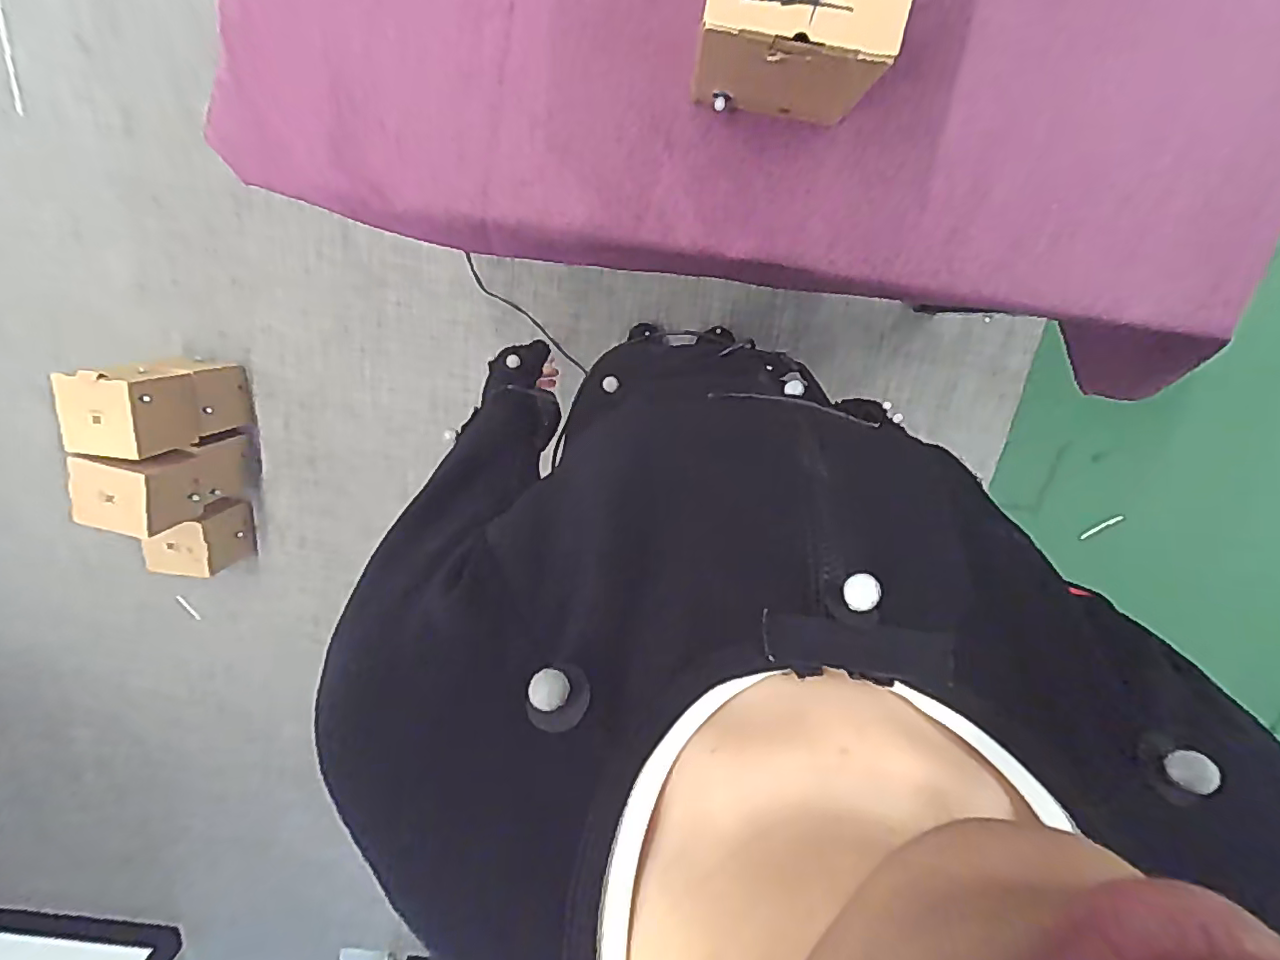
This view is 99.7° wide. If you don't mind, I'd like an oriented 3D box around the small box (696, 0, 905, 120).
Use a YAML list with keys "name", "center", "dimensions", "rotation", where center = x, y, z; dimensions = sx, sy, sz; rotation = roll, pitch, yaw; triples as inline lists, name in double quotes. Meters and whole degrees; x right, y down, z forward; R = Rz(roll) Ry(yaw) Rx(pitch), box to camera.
- name: "small box"
  center: [0.150, -0.472, 0.508]
  dimensions: [0.168, 0.176, 0.179]
  rotation: [10, 107, -1]
